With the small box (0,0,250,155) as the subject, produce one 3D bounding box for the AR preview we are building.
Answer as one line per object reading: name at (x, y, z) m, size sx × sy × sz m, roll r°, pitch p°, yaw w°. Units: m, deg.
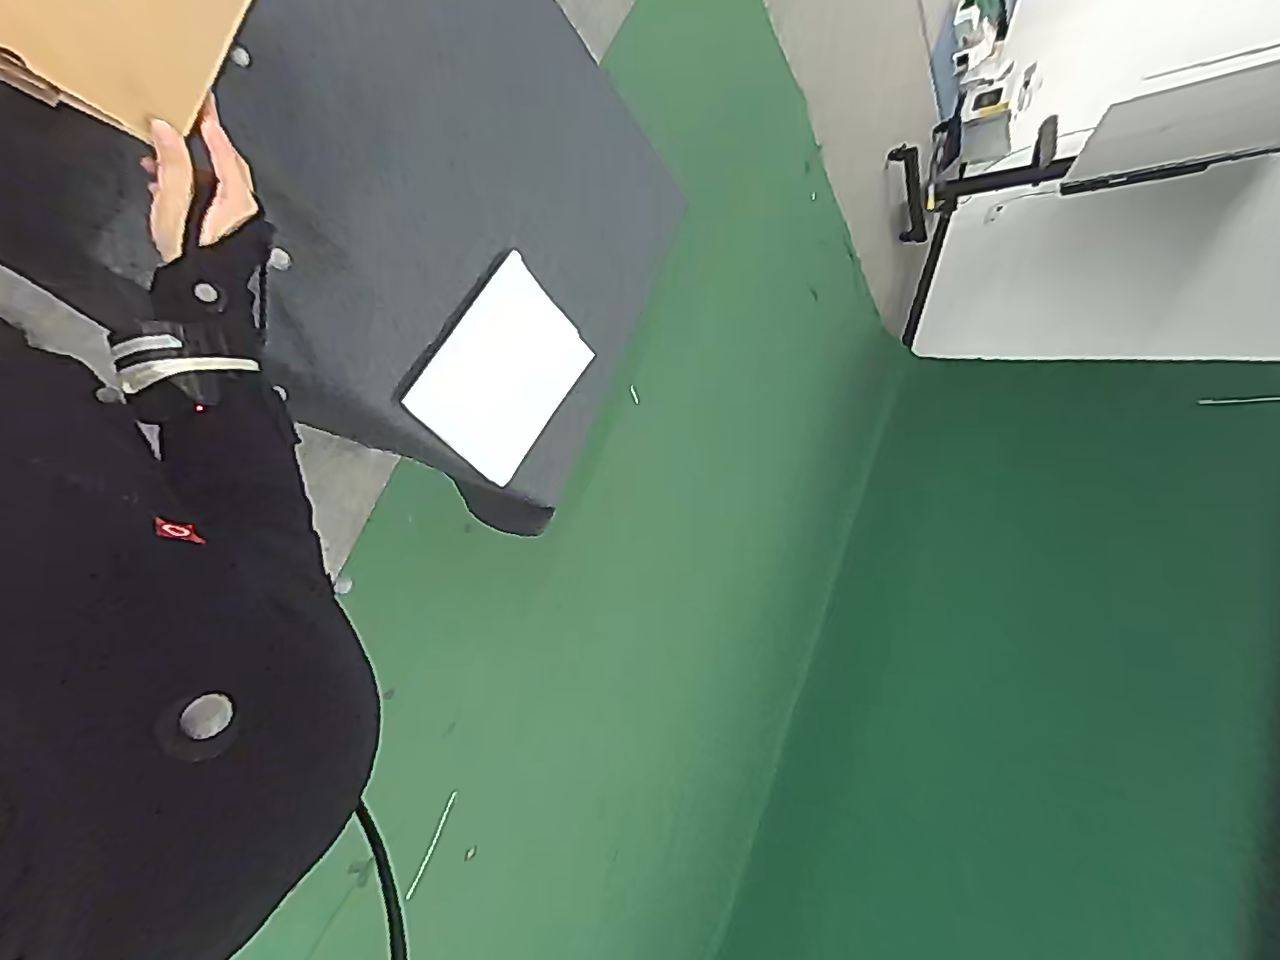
small box at (-0.367, -0.362, 0.352) m, size 0.179 × 0.176 × 0.168 m, roll -51°, pitch 142°, yaw 14°
